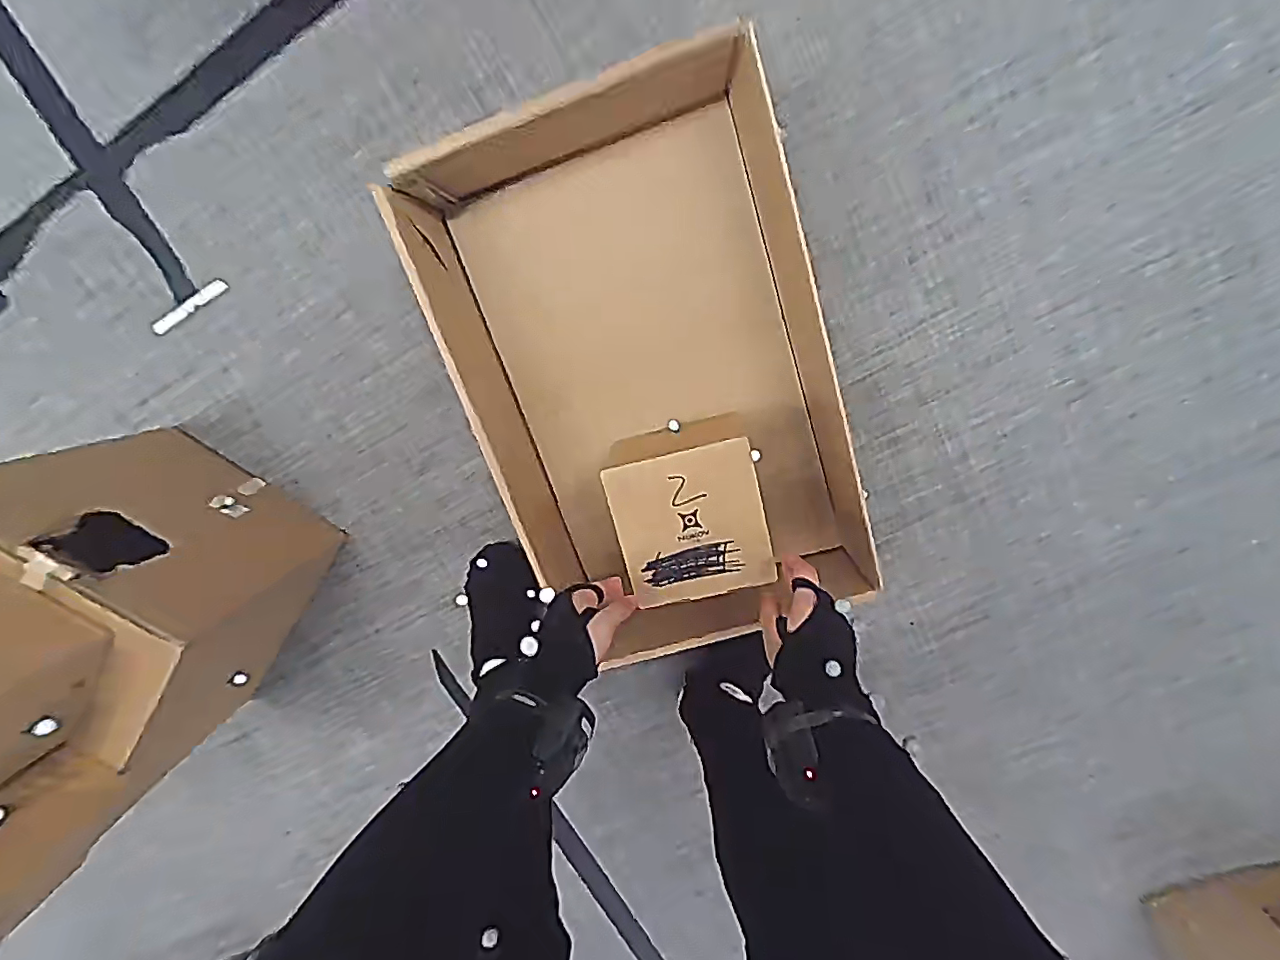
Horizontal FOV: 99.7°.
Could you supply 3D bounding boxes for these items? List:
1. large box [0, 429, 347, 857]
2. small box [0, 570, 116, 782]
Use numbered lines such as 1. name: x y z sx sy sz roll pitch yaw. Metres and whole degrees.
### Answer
1. large box: -0.698 0.197 0.754 0.320 0.320 0.408 34 106 -6
2. small box: -0.659 0.198 0.495 0.179 0.176 0.168 33 107 -7
